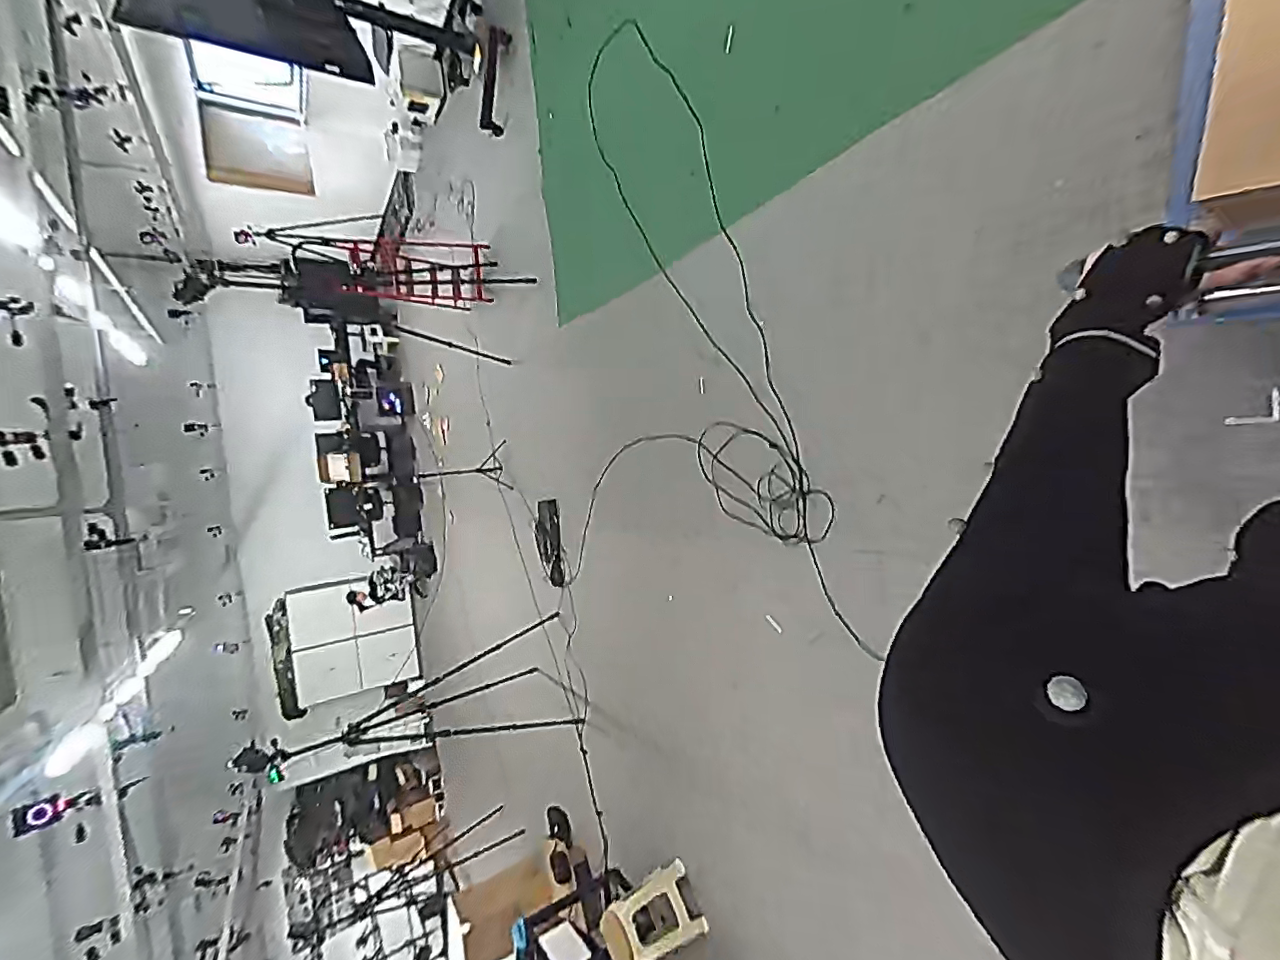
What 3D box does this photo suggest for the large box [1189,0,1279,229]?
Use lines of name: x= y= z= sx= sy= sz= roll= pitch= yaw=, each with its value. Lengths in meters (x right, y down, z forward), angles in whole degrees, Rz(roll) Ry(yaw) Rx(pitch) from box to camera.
large box: x=1.029 y=-0.609 z=0.734 sx=0.320 sy=0.320 sz=0.408 roll=14 pitch=107 yaw=54
